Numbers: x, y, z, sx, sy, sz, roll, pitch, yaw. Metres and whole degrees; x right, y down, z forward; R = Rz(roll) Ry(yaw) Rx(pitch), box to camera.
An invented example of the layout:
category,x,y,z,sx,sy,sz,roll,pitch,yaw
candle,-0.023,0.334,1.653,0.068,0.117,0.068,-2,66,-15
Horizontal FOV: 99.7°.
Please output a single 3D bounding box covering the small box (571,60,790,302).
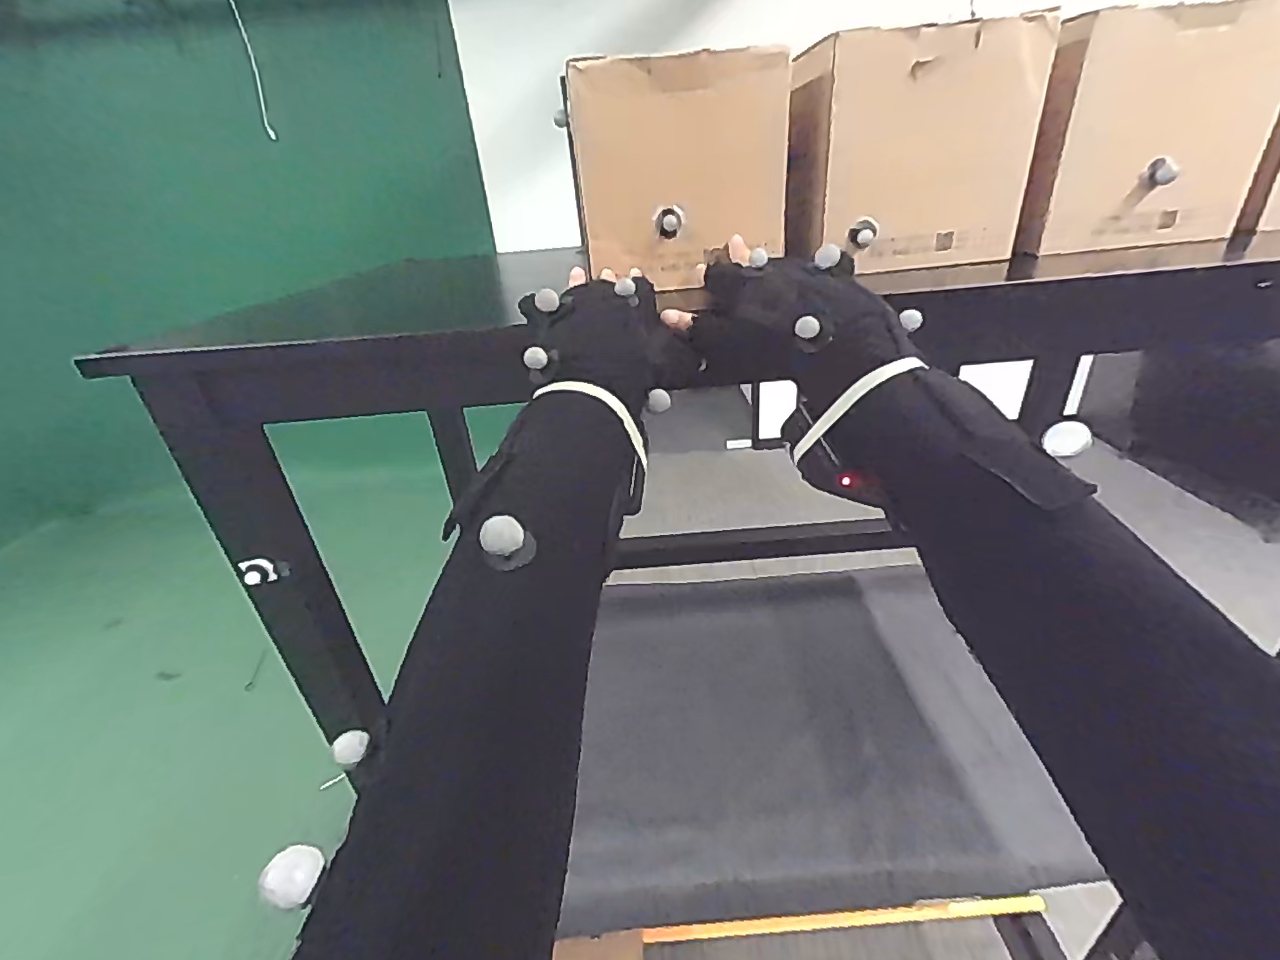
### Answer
category,x,y,z,sx,sy,sz,roll,pitch,yaw
small box,0.029,-0.269,0.507,0.168,0.176,0.179,-6,29,-2
